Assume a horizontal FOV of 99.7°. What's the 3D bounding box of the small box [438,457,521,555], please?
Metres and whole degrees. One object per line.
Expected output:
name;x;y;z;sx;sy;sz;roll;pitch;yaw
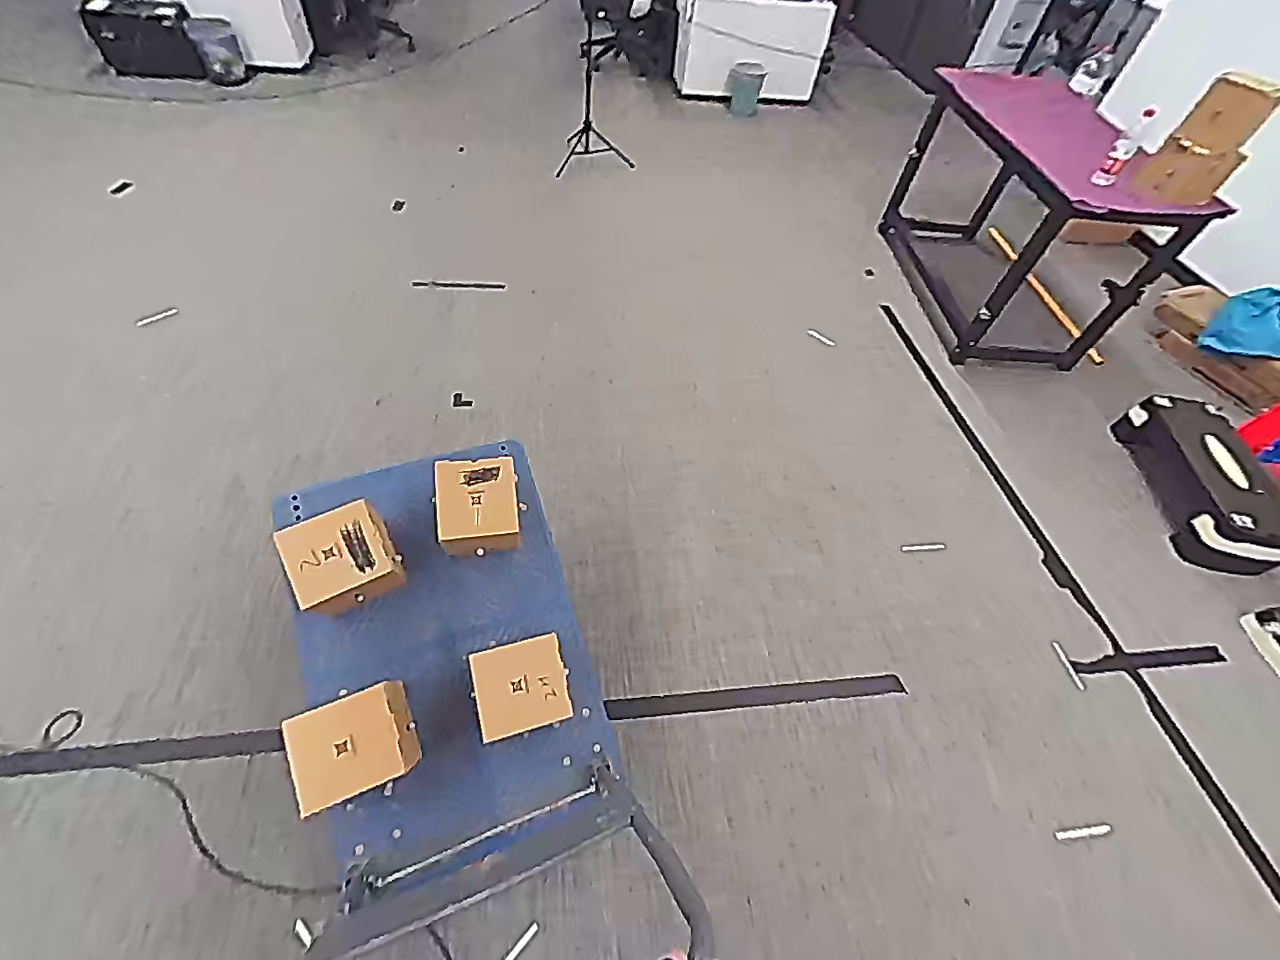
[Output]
small box;-0.360;0.062;1.223;0.168;0.176;0.179;-4;73;-14

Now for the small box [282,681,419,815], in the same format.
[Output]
small box;-0.540;0.499;1.030;0.179;0.176;0.168;-18;76;-19

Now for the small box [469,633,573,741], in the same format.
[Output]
small box;-0.245;0.425;1.122;0.179;0.176;0.168;-11;74;-16
